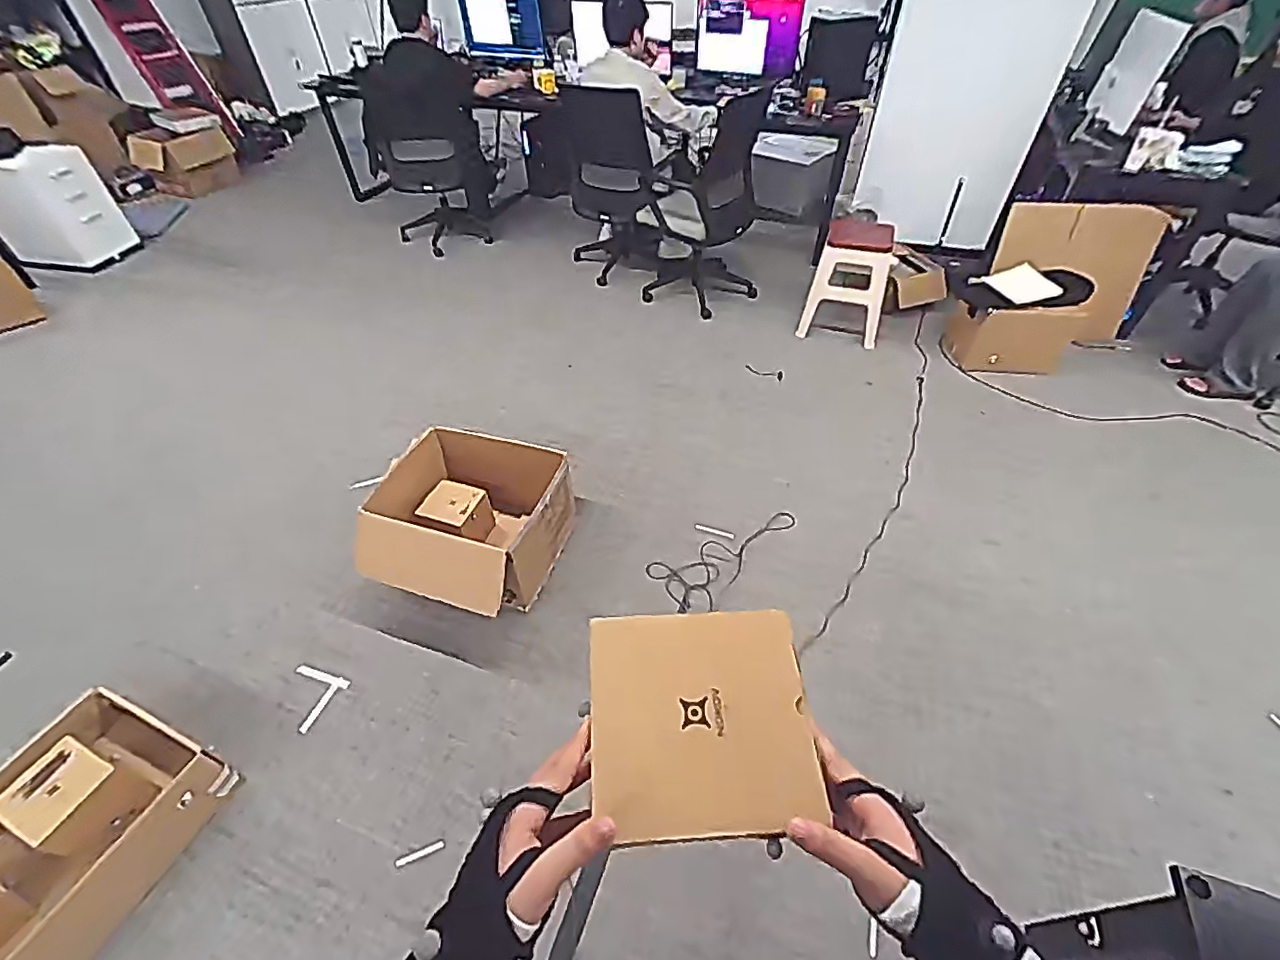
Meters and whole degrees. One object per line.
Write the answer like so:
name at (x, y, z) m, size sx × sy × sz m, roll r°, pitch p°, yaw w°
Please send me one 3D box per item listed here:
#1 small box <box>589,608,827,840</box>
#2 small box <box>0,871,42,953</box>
small box at (0.046, 0.230, 0.501) m, size 0.179 × 0.176 × 0.168 m, roll -2°, pitch 56°, yaw -4°
small box at (-1.385, 0.896, 1.073) m, size 0.168 × 0.176 × 0.179 m, roll 19°, pitch 47°, yaw 16°
